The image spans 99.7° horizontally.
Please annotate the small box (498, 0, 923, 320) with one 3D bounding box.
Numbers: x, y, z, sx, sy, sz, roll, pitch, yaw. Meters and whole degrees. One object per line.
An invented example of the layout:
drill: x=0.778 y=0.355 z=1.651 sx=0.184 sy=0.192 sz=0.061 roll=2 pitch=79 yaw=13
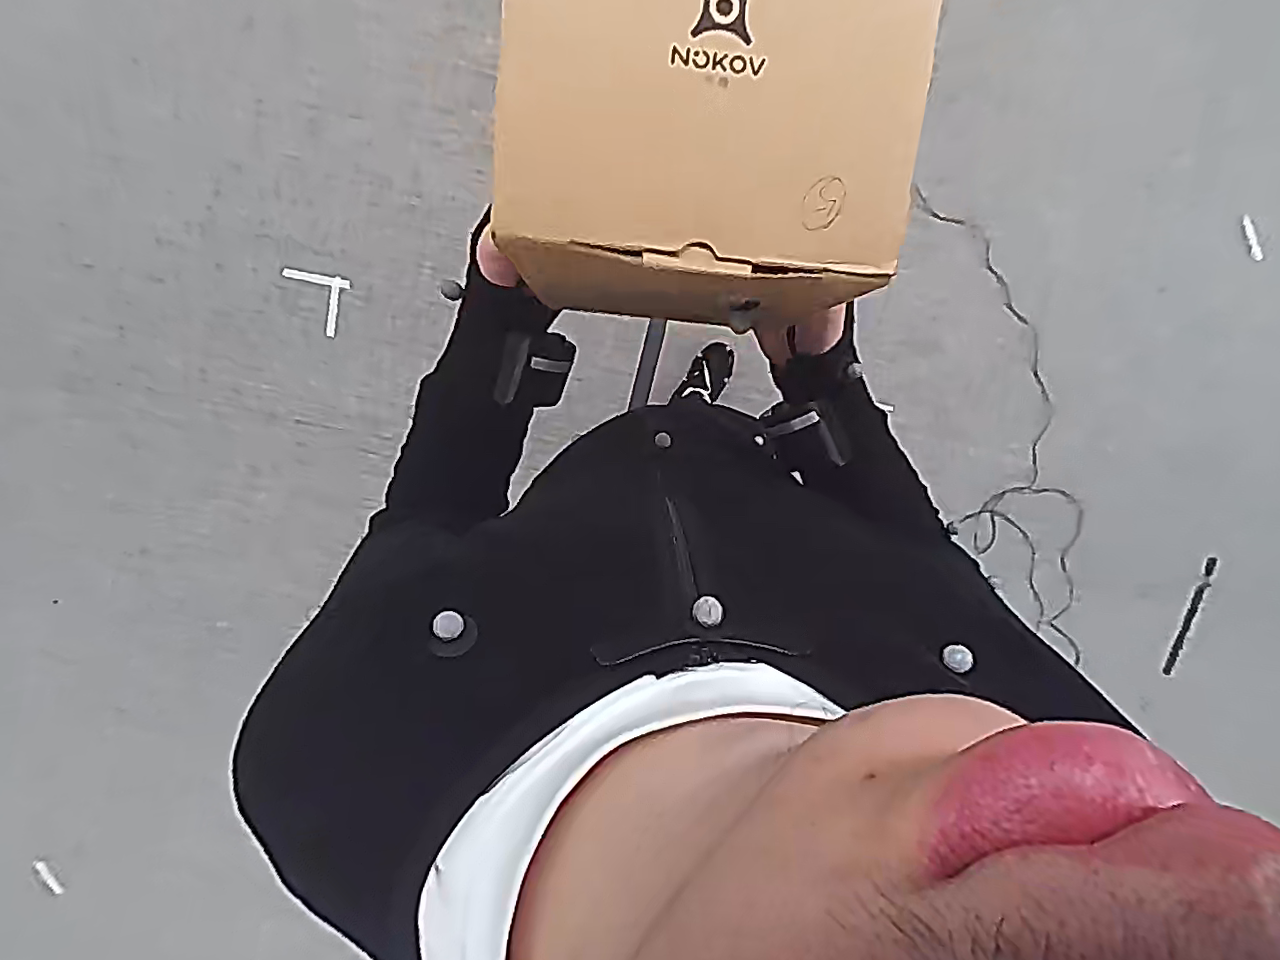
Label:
small box: x=0.025 y=-0.189 z=0.292 sx=0.168 sy=0.176 sz=0.179 roll=3 pitch=98 yaw=-4
